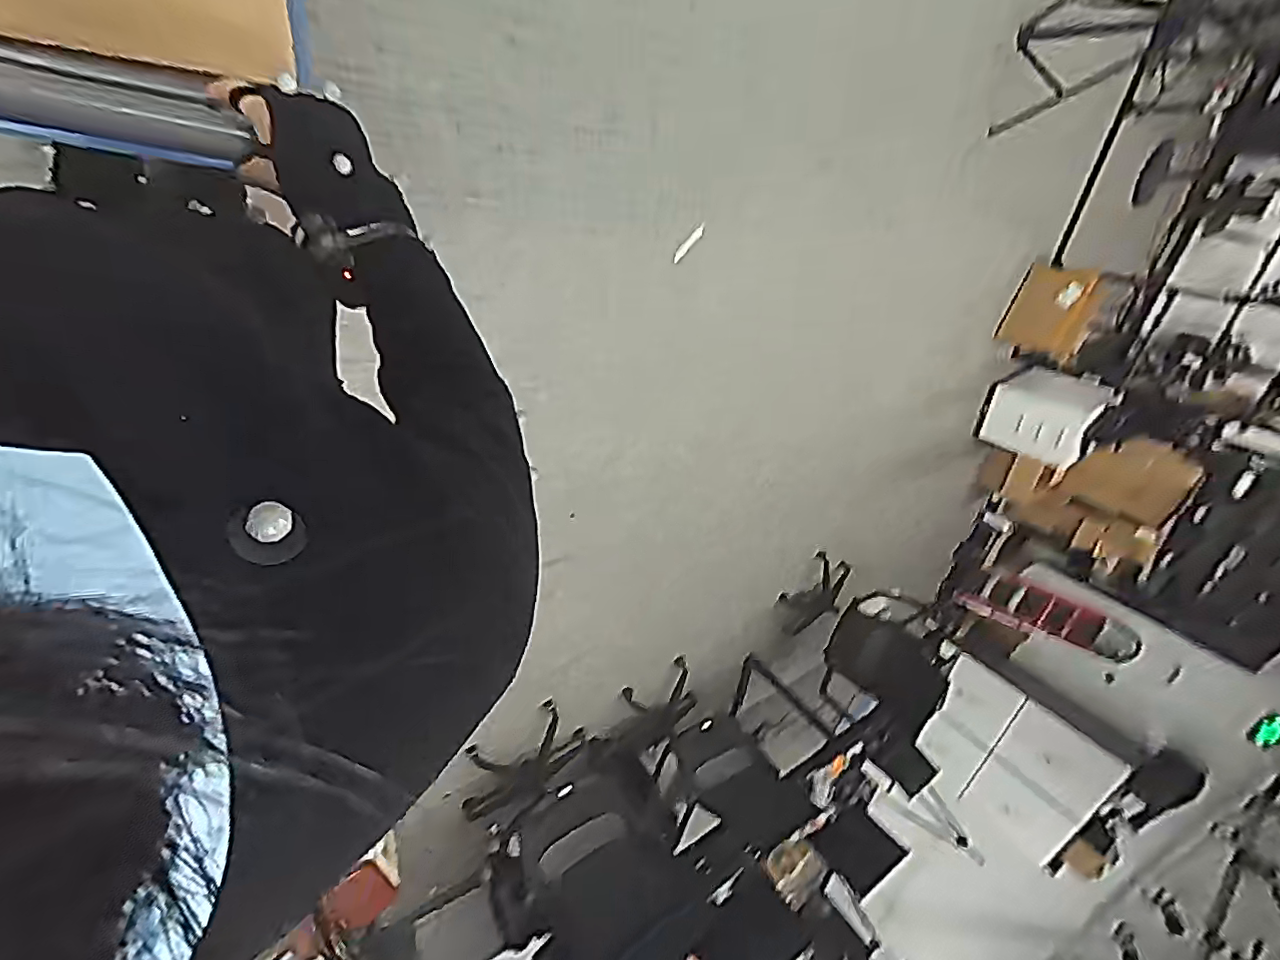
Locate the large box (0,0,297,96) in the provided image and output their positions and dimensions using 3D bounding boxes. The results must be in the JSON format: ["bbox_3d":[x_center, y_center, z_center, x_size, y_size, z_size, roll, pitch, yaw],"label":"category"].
[{"bbox_3d":[-0.695,-0.689,0.653,0.408,0.320,0.320,-14,126,-35],"label":"large box"}]
